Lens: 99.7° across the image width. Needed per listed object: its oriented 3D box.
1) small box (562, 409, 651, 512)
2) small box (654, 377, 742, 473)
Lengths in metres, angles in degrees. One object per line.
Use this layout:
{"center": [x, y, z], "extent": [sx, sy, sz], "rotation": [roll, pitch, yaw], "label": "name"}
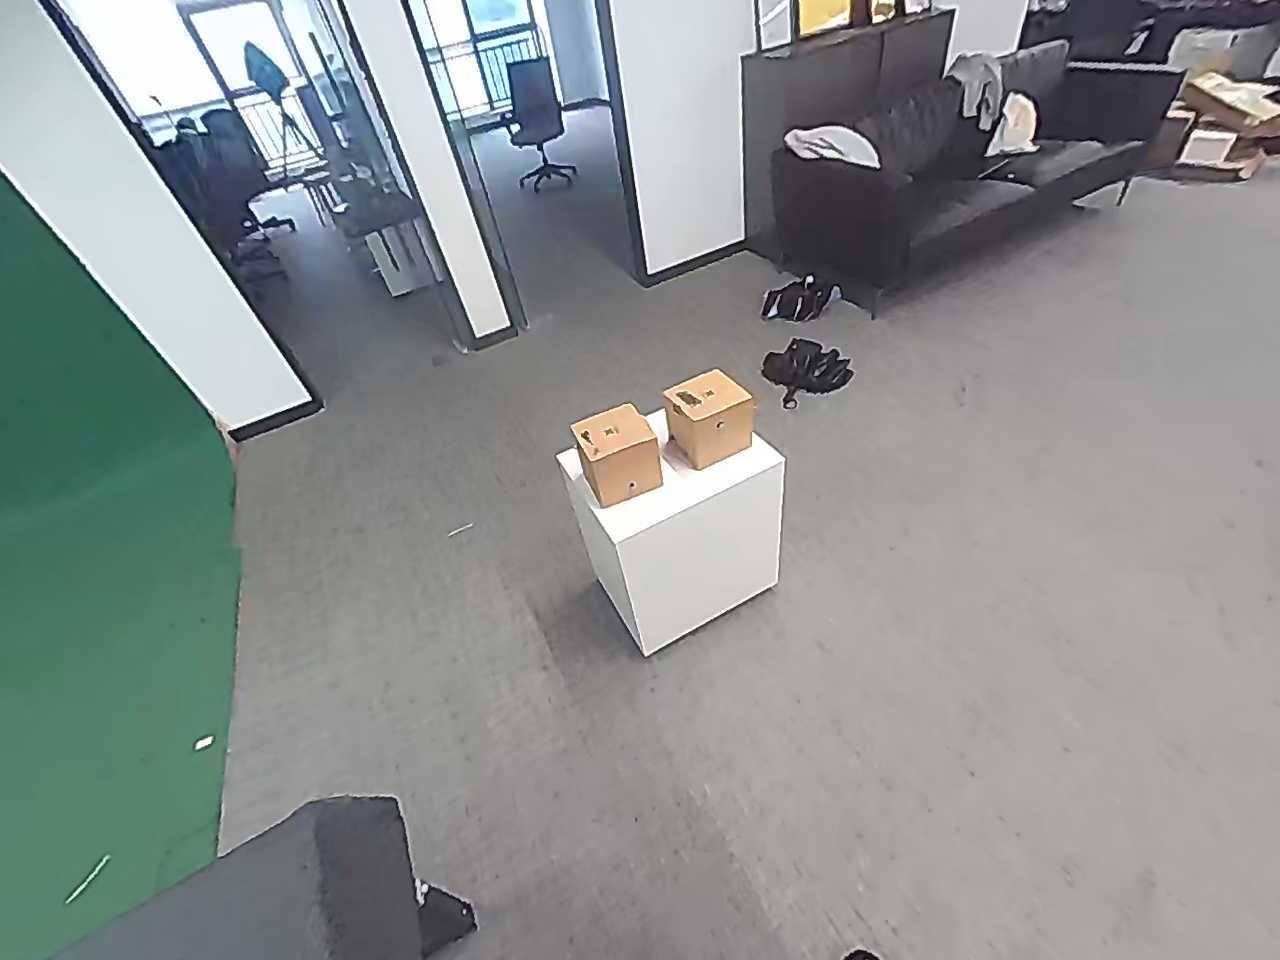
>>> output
{"center": [-0.081, -0.049, 1.375], "extent": [0.179, 0.176, 0.168], "rotation": [-20, 43, -15], "label": "small box"}
{"center": [0.157, -0.145, 1.443], "extent": [0.179, 0.176, 0.168], "rotation": [-23, 45, -17], "label": "small box"}
